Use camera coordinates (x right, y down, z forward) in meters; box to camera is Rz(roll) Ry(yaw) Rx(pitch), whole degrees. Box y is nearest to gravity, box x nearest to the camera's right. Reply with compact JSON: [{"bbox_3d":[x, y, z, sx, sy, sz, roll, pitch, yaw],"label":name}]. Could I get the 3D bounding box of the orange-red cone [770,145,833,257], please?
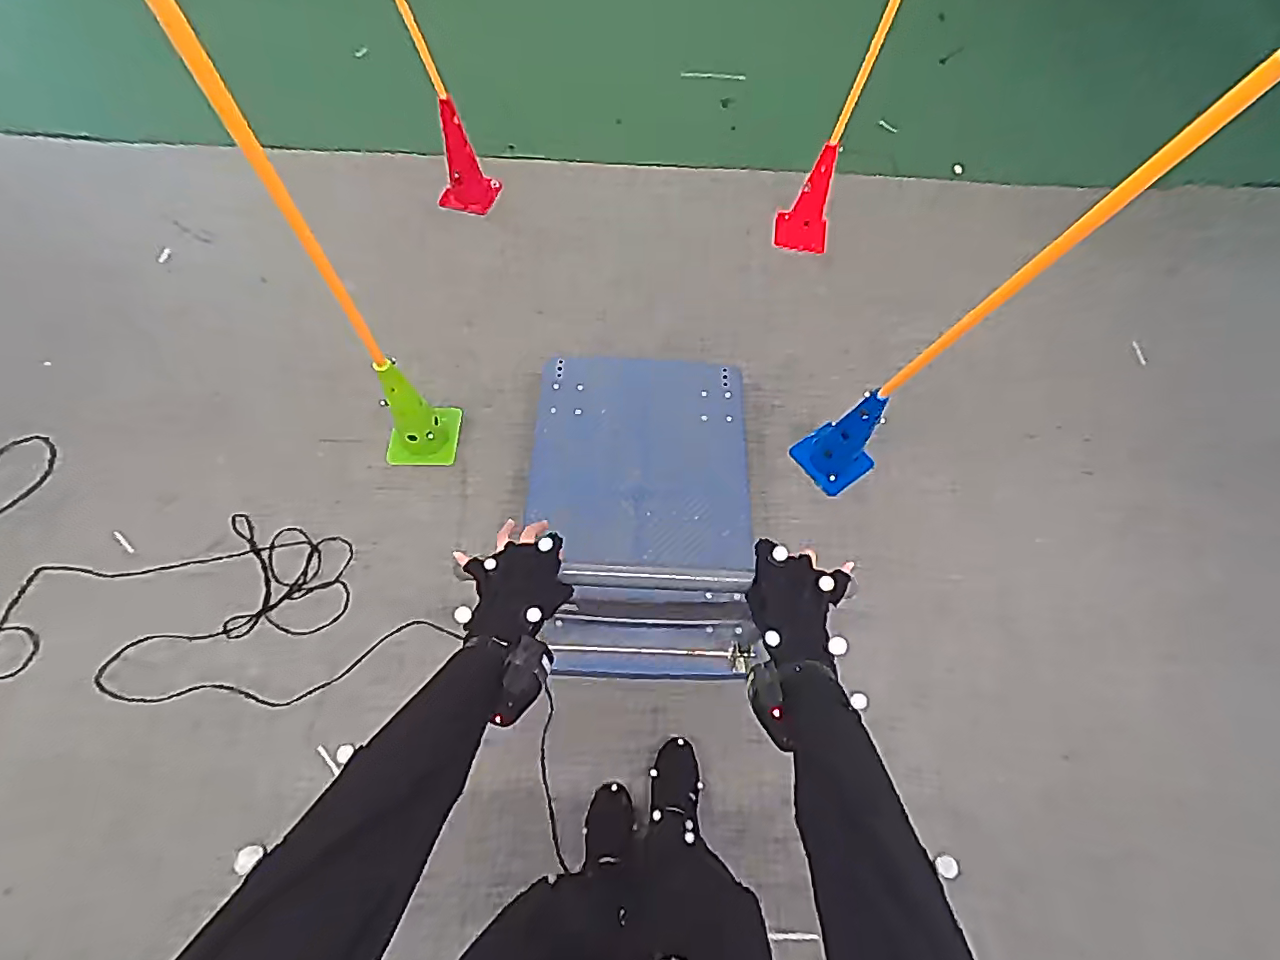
[{"bbox_3d":[0.616,-1.019,1.943,0.198,0.360,0.199,12,65,3],"label":"orange-red cone"}]
